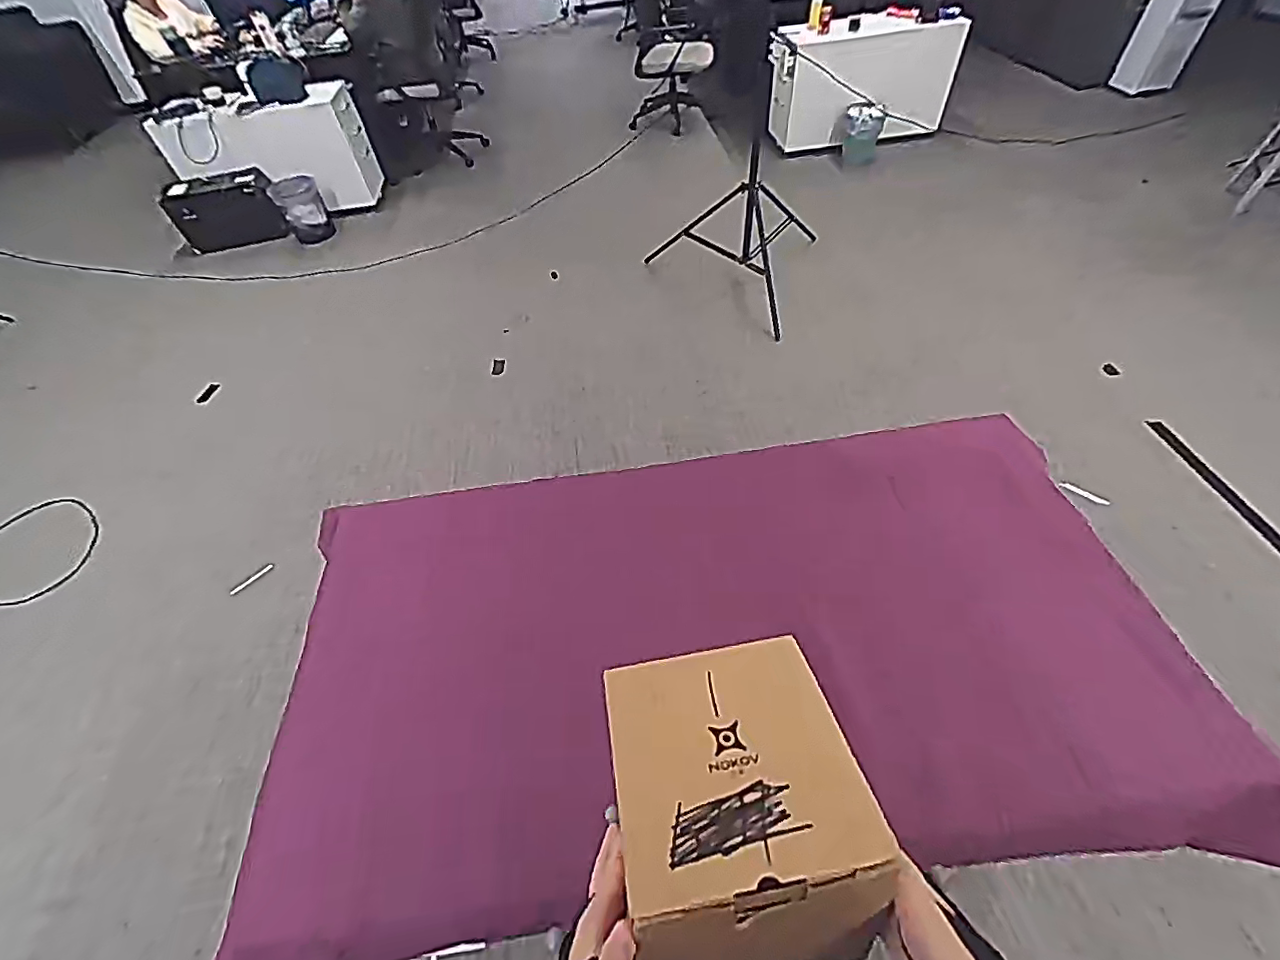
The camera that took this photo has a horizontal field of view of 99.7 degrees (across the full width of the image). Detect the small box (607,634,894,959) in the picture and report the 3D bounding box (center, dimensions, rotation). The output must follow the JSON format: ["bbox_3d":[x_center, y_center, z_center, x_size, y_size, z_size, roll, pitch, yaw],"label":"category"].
[{"bbox_3d":[0.072,0.258,0.431,0.168,0.176,0.179,-9,33,-4],"label":"small box"}]
